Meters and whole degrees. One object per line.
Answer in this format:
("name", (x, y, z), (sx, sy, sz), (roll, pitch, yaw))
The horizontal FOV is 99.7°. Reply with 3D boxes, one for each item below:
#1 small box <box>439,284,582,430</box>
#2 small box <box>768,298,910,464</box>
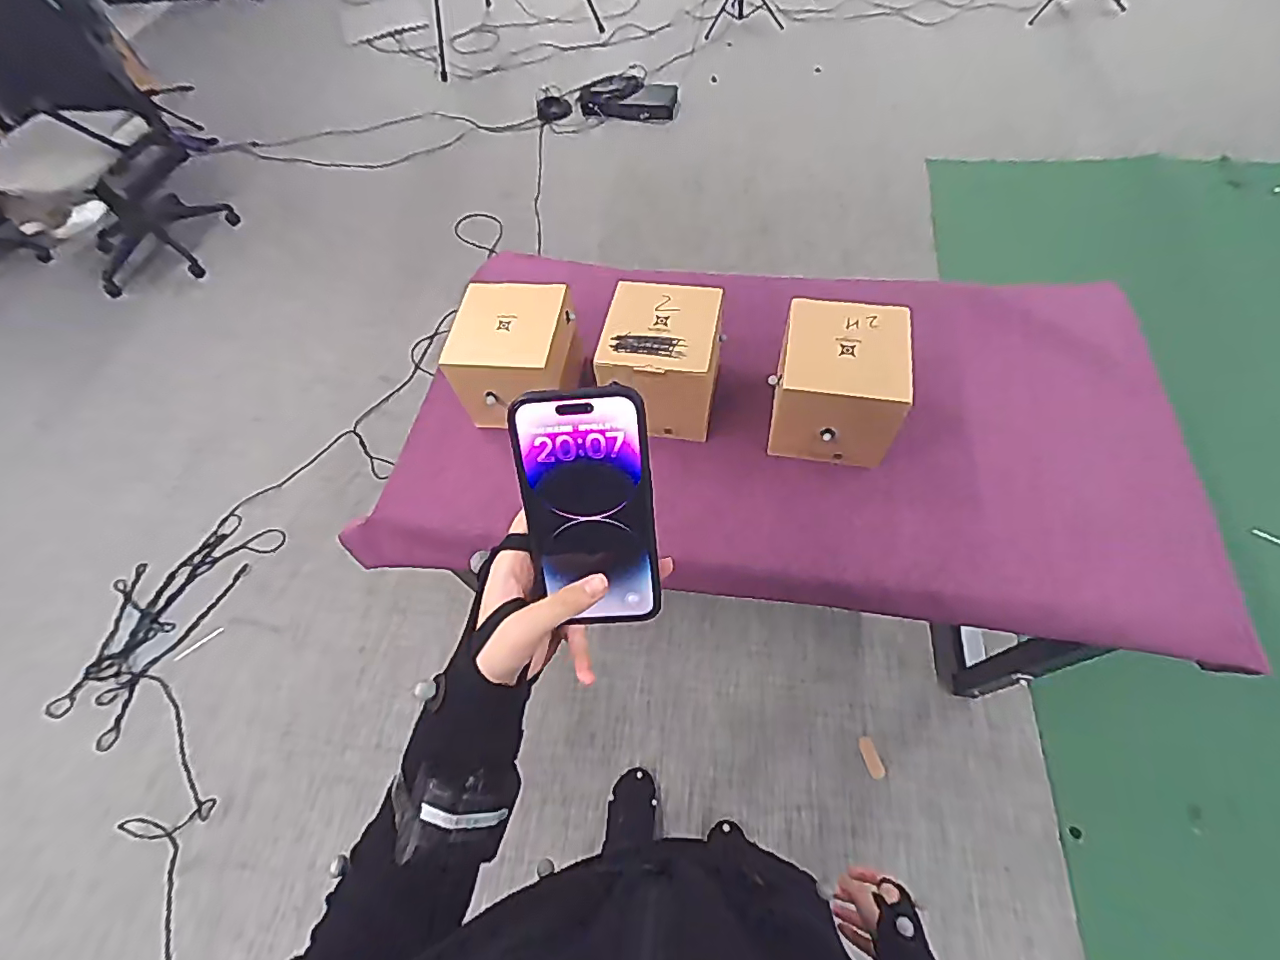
("small box", (-0.200, -0.198, 0.893), (0.168, 0.176, 0.179), (3, 59, 7))
("small box", (0.291, -0.143, 0.812), (0.168, 0.176, 0.179), (9, 61, 10))
